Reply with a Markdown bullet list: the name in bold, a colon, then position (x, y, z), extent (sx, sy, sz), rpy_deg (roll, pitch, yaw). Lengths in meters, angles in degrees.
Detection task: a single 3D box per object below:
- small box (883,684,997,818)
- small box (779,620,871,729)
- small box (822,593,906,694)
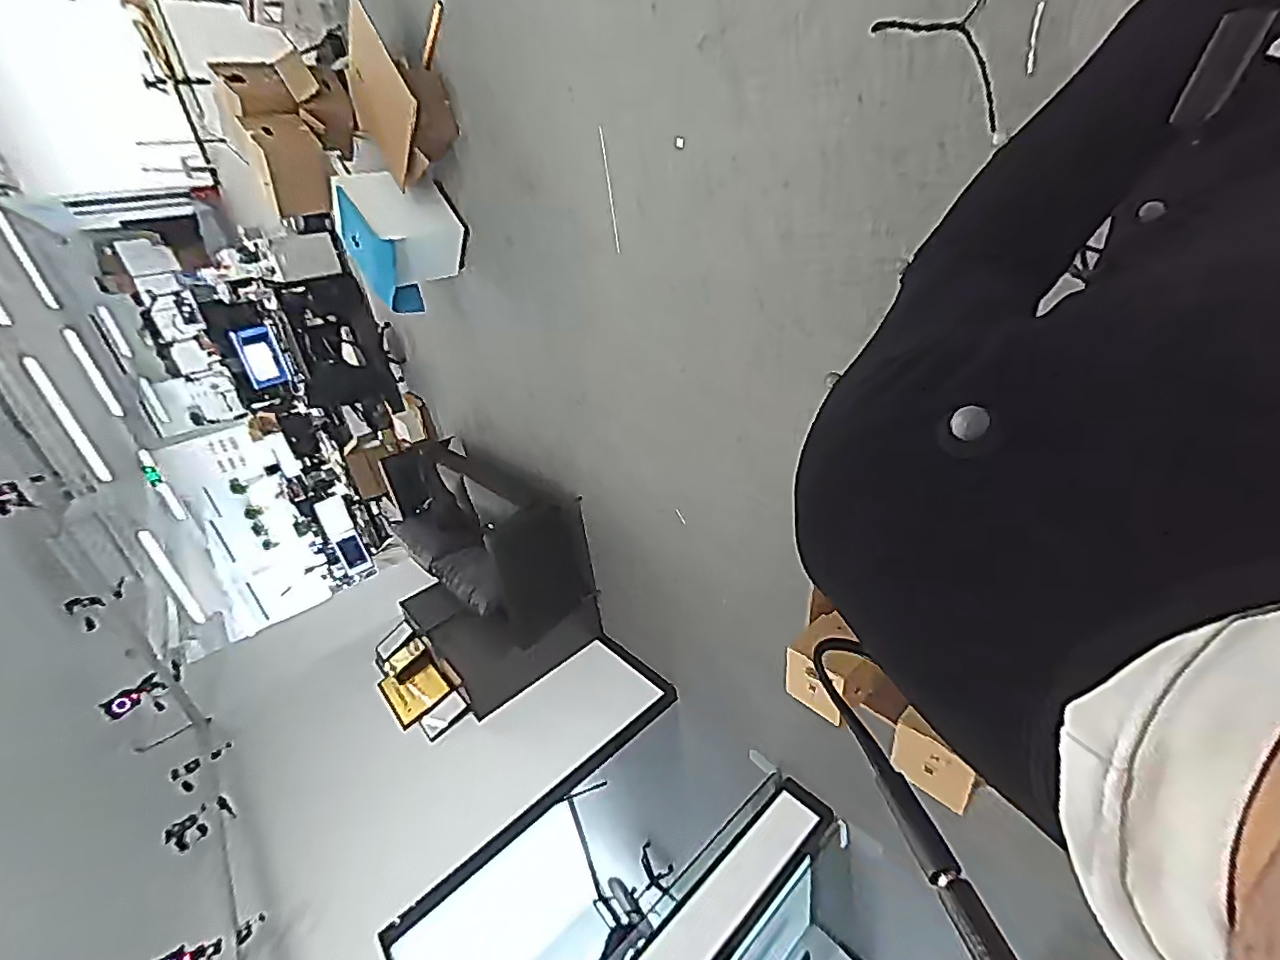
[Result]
- **small box**: position (0.687, 0.613, 1.240), extent (0.168, 0.176, 0.179), rpy_deg (25, 131, 43)
- **small box**: position (0.492, 0.508, 1.437), extent (0.168, 0.176, 0.179), rpy_deg (25, 131, 44)
- **small box**: position (0.621, 0.456, 1.525), extent (0.168, 0.176, 0.179), rpy_deg (30, 133, 41)
